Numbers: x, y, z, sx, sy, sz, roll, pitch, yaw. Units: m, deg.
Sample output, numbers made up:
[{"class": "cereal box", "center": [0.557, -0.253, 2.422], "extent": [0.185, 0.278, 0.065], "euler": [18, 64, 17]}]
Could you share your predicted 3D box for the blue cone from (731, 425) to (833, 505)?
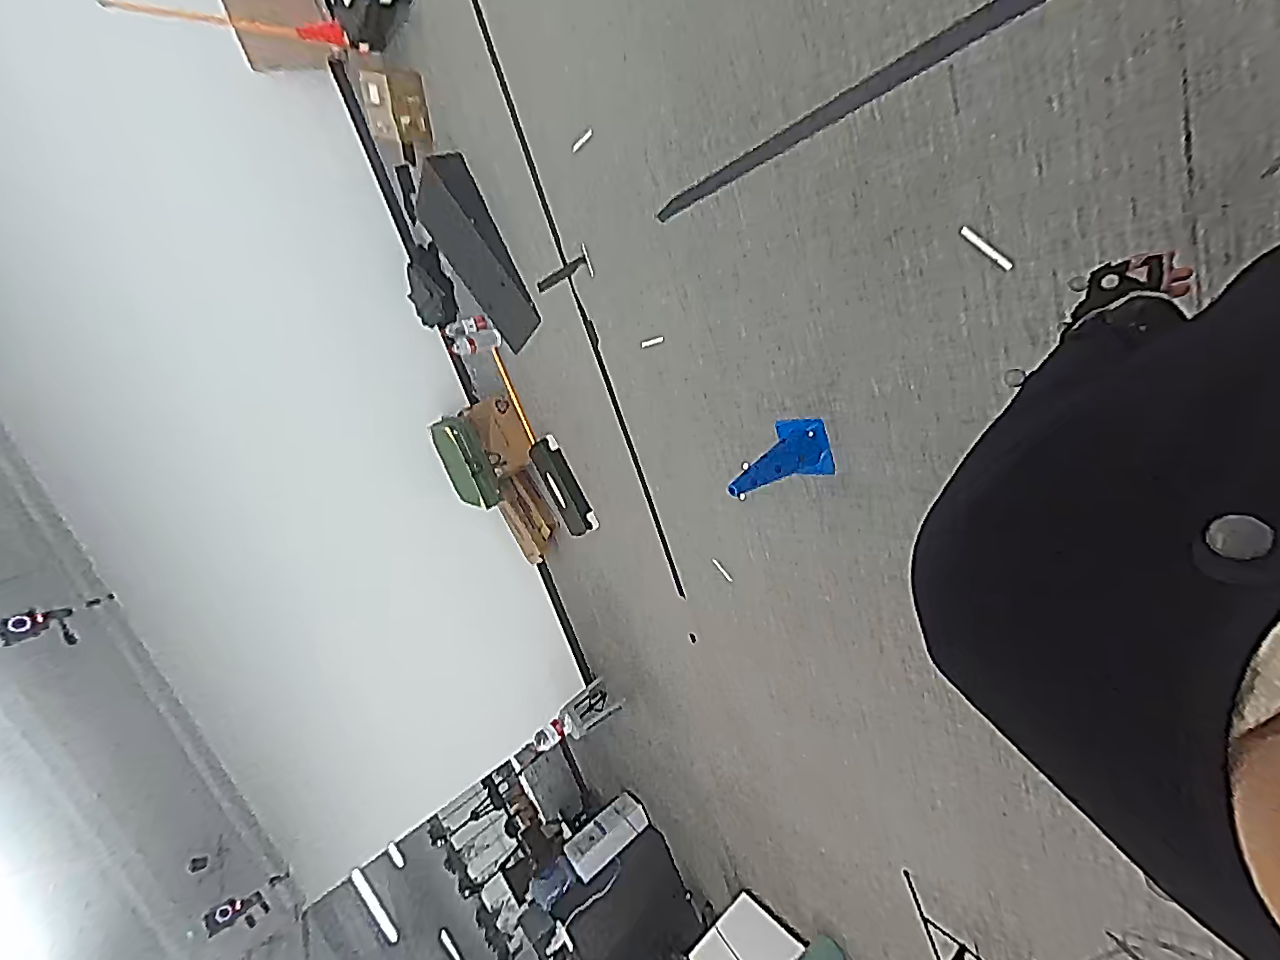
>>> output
[{"class": "blue cone", "center": [0.427, -0.026, 1.734], "extent": [0.193, 0.380, 0.192], "euler": [5, 119, 56]}]
